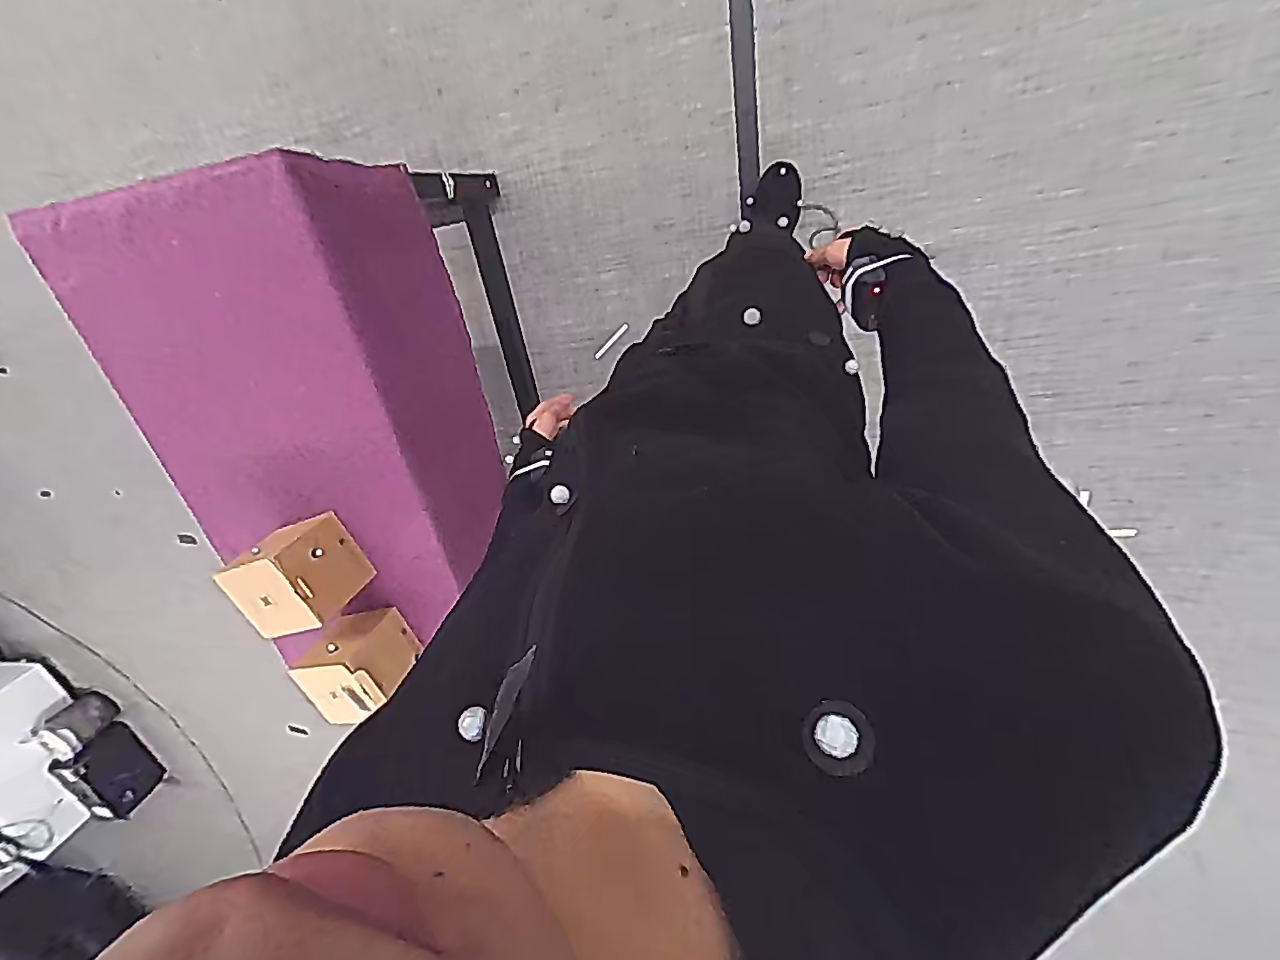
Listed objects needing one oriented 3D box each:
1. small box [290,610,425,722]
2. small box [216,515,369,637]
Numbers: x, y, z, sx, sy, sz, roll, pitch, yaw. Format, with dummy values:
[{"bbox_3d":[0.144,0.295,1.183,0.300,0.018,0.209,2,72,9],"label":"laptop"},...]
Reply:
[{"bbox_3d":[-0.610,0.408,1.200,0.179,0.176,0.168,-14,114,21],"label":"small box"},{"bbox_3d":[-0.690,0.191,1.103,0.179,0.176,0.168,-15,113,22],"label":"small box"}]
